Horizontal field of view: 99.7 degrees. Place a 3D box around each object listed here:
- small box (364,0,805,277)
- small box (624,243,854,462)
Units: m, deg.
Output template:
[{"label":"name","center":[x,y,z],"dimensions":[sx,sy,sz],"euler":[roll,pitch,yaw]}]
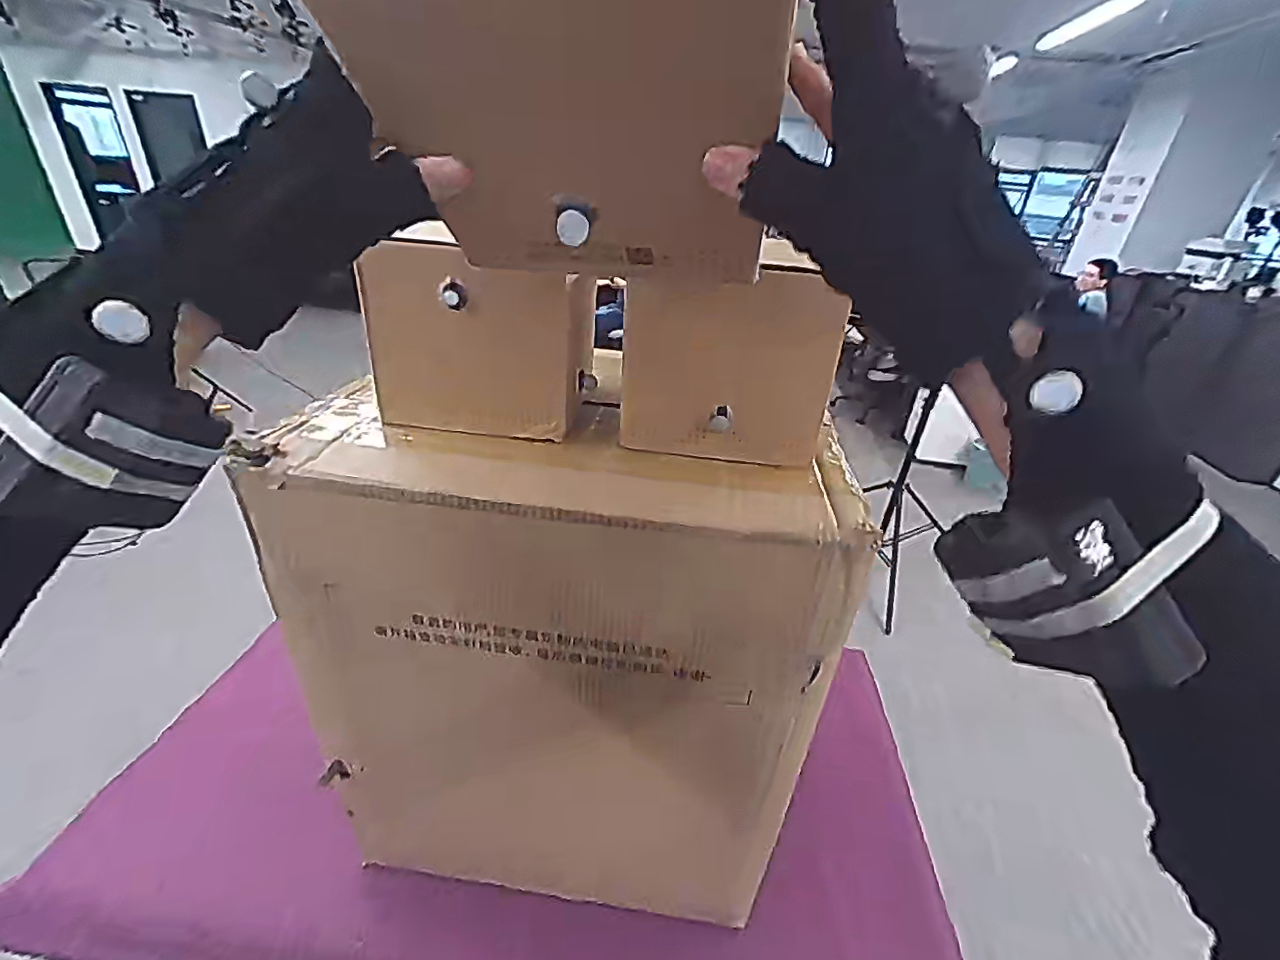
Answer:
[{"label":"small box","center":[-0.010,-0.226,0.255],"dimensions":[0.168,0.179,0.176],"euler":[7,-15,9]},{"label":"small box","center":[0.084,-0.130,0.522],"dimensions":[0.179,0.176,0.168],"euler":[6,29,6]}]
